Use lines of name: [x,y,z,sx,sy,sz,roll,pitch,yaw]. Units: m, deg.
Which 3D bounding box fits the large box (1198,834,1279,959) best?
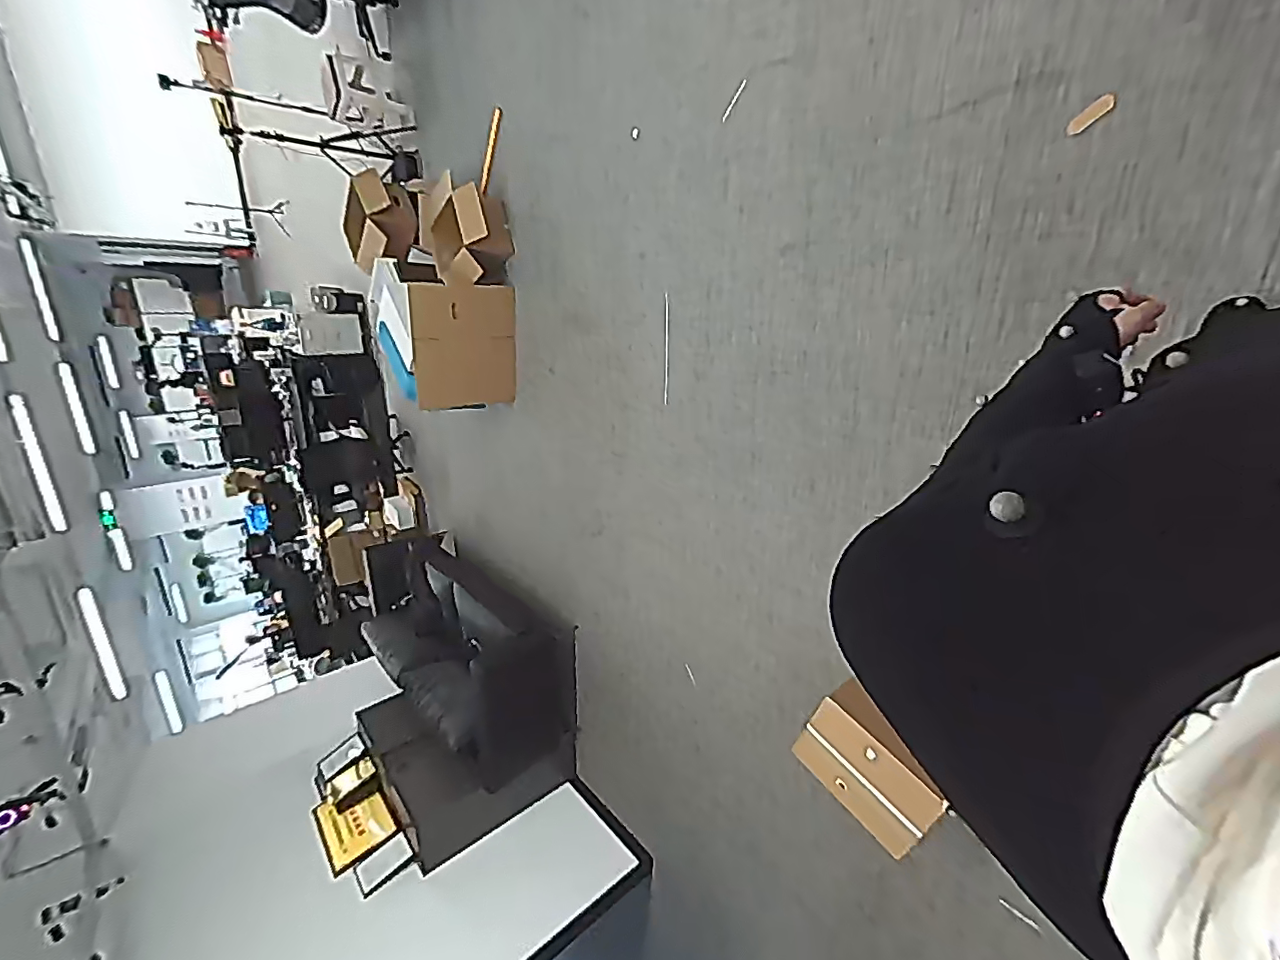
large box: [1.400,0.934,1.018,0.408,0.320,0.320,-30,79,49]
